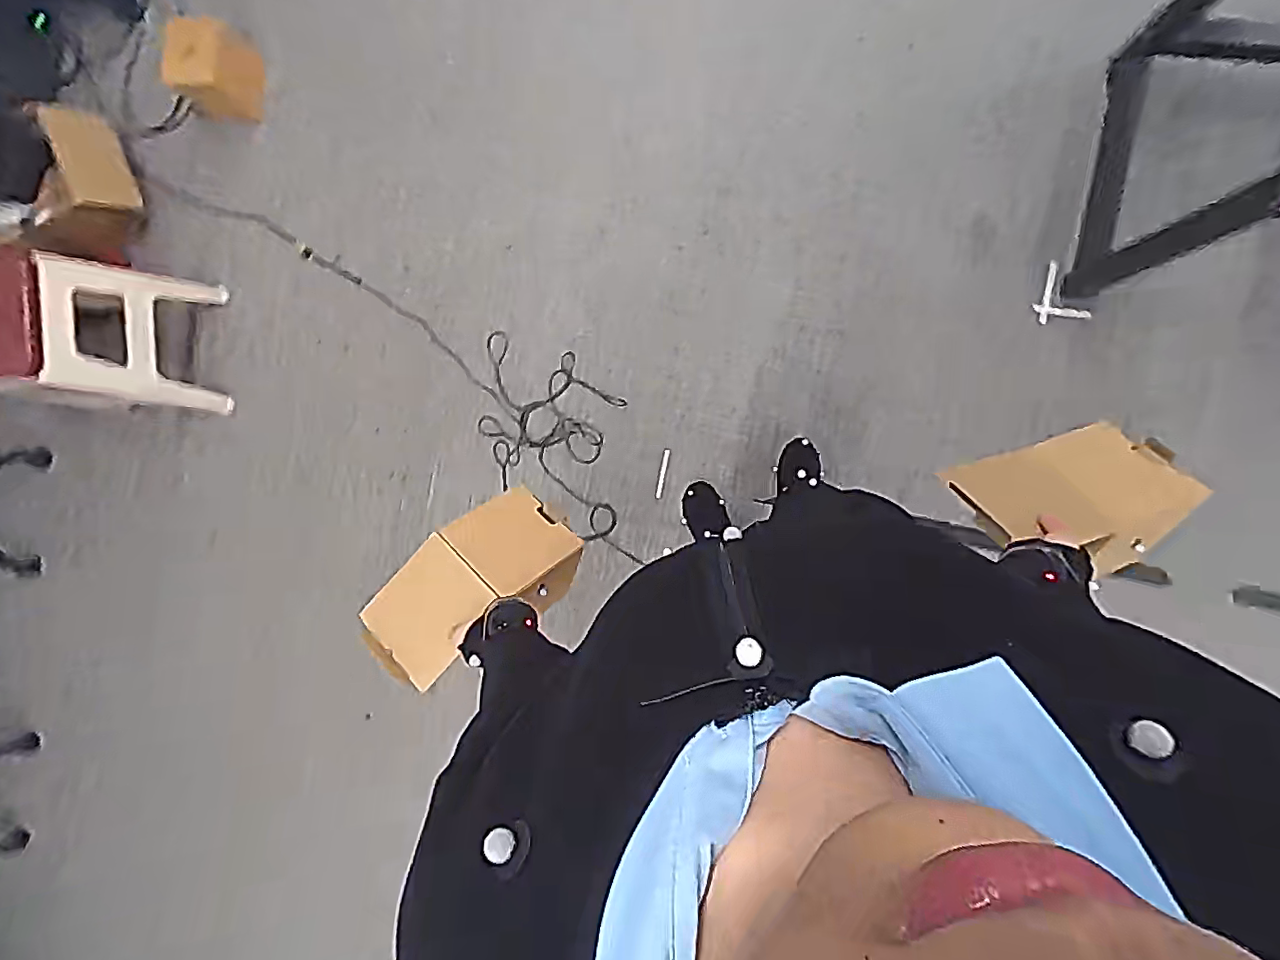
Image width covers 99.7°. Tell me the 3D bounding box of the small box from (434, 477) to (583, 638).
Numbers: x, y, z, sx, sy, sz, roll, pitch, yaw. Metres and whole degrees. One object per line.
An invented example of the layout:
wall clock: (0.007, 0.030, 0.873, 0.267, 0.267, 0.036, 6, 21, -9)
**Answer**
small box: (-0.224, 0.133, 0.913, 0.168, 0.179, 0.176, 42, 138, 16)
